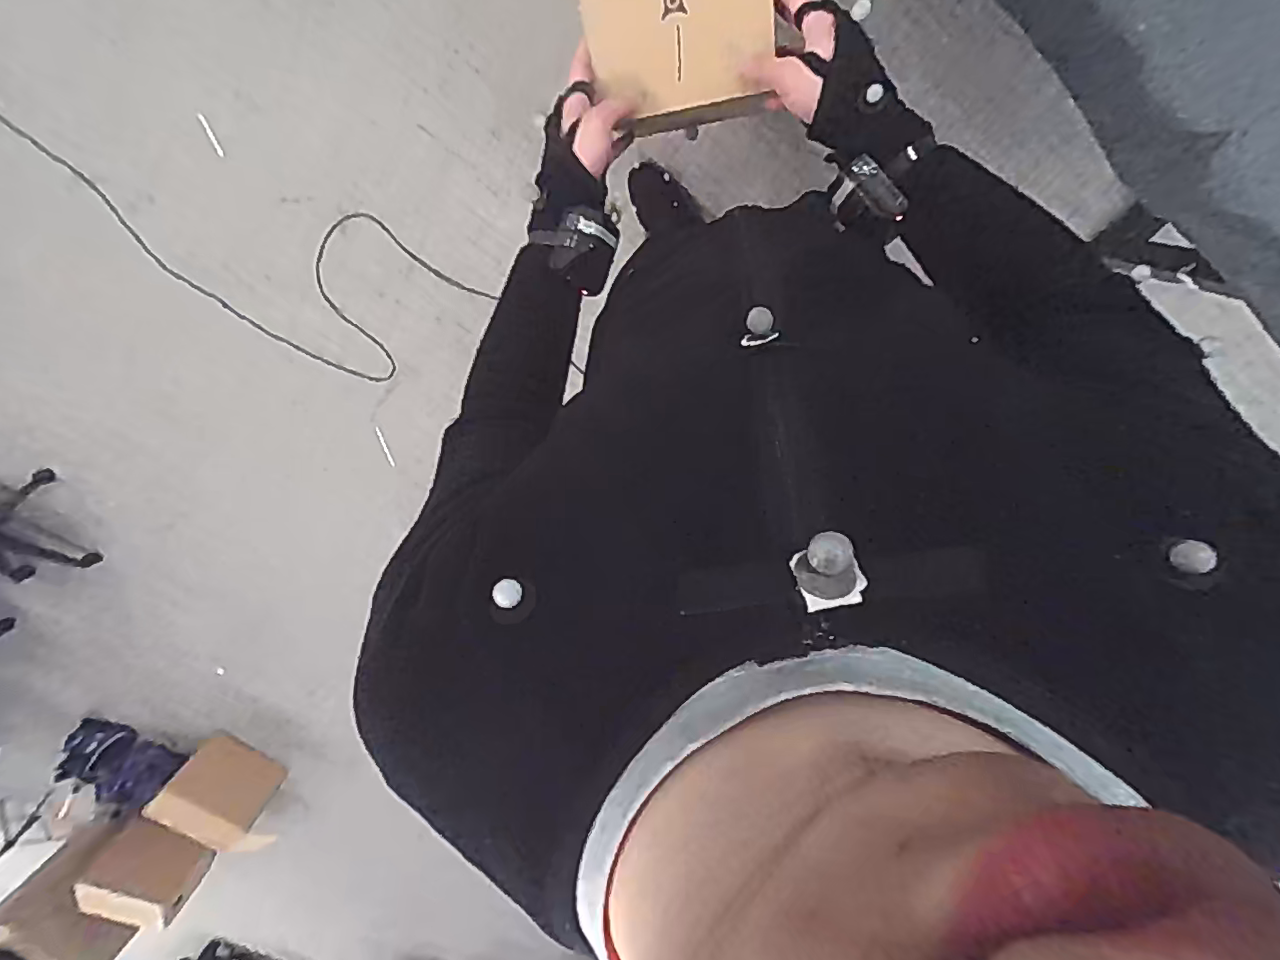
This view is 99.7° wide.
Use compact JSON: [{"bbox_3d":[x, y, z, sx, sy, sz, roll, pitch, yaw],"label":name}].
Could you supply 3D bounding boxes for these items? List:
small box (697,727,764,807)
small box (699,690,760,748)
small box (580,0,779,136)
[{"bbox_3d":[0.321,1.028,1.945,0.168,0.176,0.179,34,119,-11],"label":"small box"},{"bbox_3d":[0.339,0.949,2.086,0.168,0.176,0.179,33,117,-11],"label":"small box"},{"bbox_3d":[0.041,-0.445,0.509,0.168,0.176,0.179,-3,118,13],"label":"small box"}]
